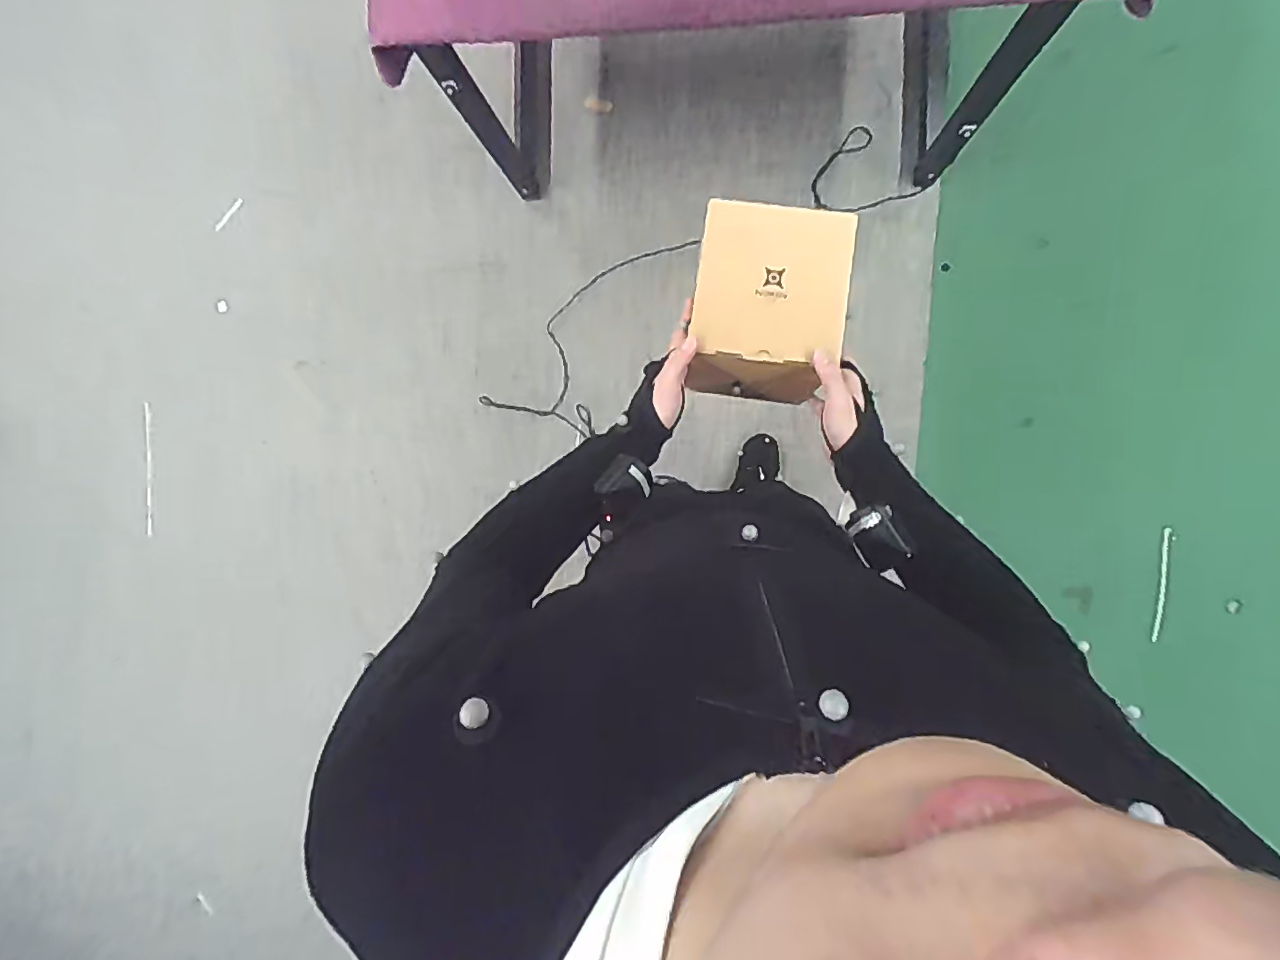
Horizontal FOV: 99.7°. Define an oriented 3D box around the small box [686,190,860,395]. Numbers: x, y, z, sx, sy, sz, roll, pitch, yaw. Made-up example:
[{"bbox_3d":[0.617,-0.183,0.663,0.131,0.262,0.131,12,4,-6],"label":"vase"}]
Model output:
[{"bbox_3d":[0.149,-0.216,0.662,0.168,0.176,0.179,8,87,4],"label":"small box"}]
